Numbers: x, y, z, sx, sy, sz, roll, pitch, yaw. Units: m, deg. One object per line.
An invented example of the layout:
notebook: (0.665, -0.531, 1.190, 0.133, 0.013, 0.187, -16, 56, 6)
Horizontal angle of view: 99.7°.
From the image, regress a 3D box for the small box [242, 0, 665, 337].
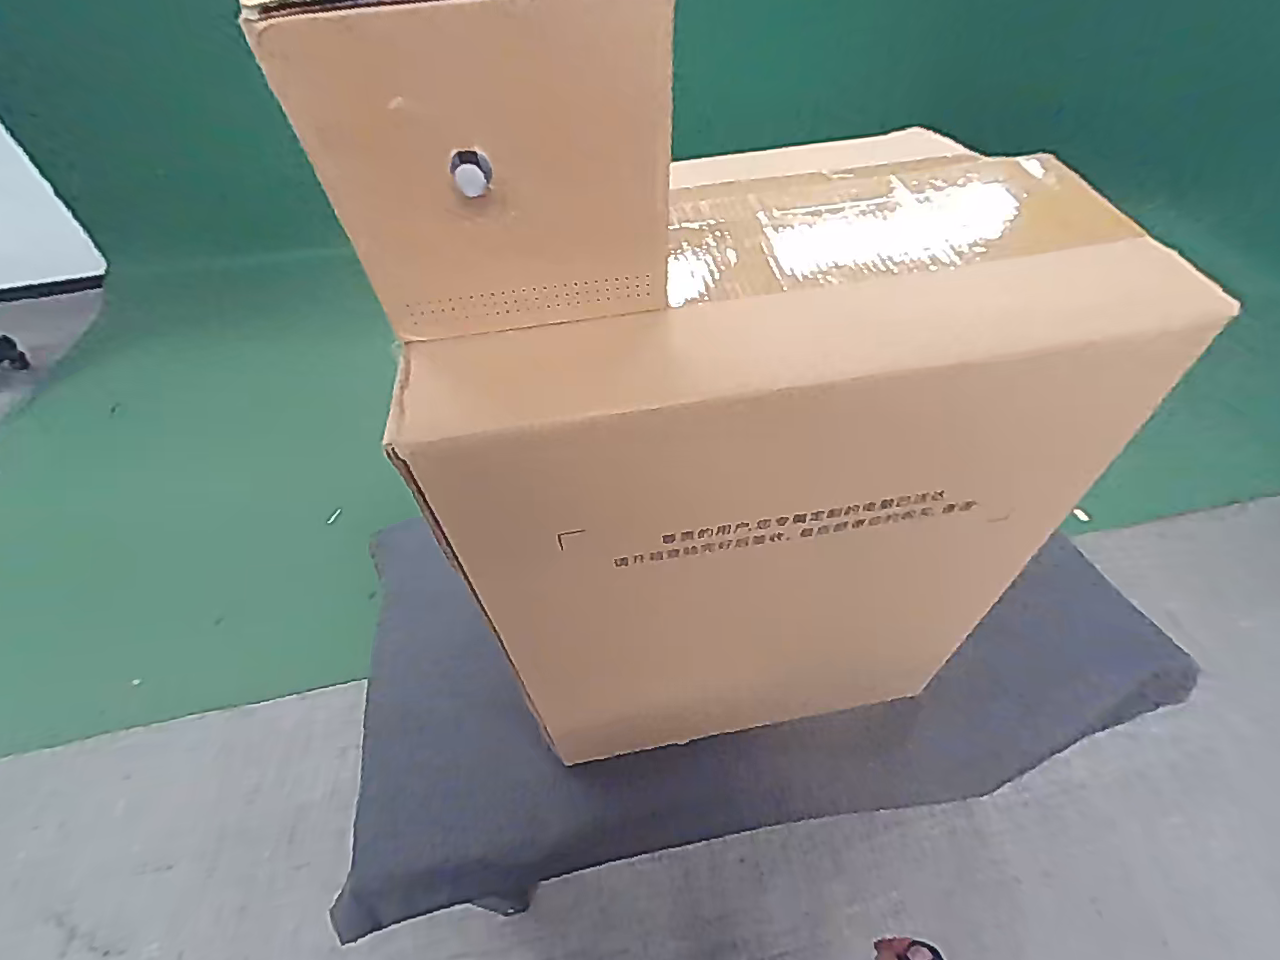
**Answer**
small box: (-0.084, -0.208, 0.331, 0.179, 0.176, 0.168, -10, 56, -4)
